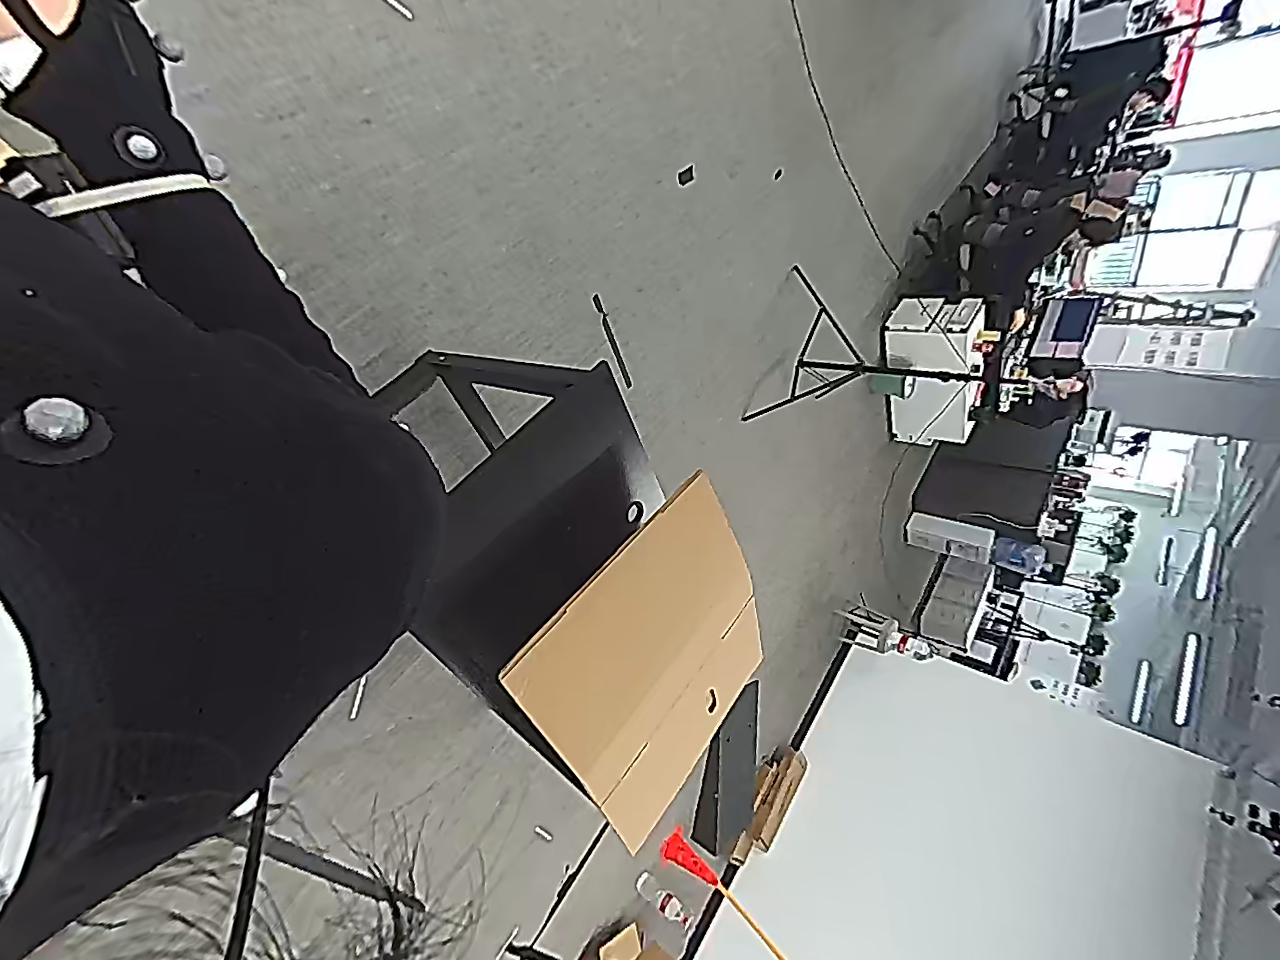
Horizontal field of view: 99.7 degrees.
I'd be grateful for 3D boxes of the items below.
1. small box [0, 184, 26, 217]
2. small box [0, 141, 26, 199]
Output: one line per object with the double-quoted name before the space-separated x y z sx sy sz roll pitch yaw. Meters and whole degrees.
"small box" -1.114 -0.468 0.822 0.179 0.176 0.168 -51 135 -24
"small box" -0.991 -0.440 0.720 0.179 0.176 0.168 -55 137 -23
